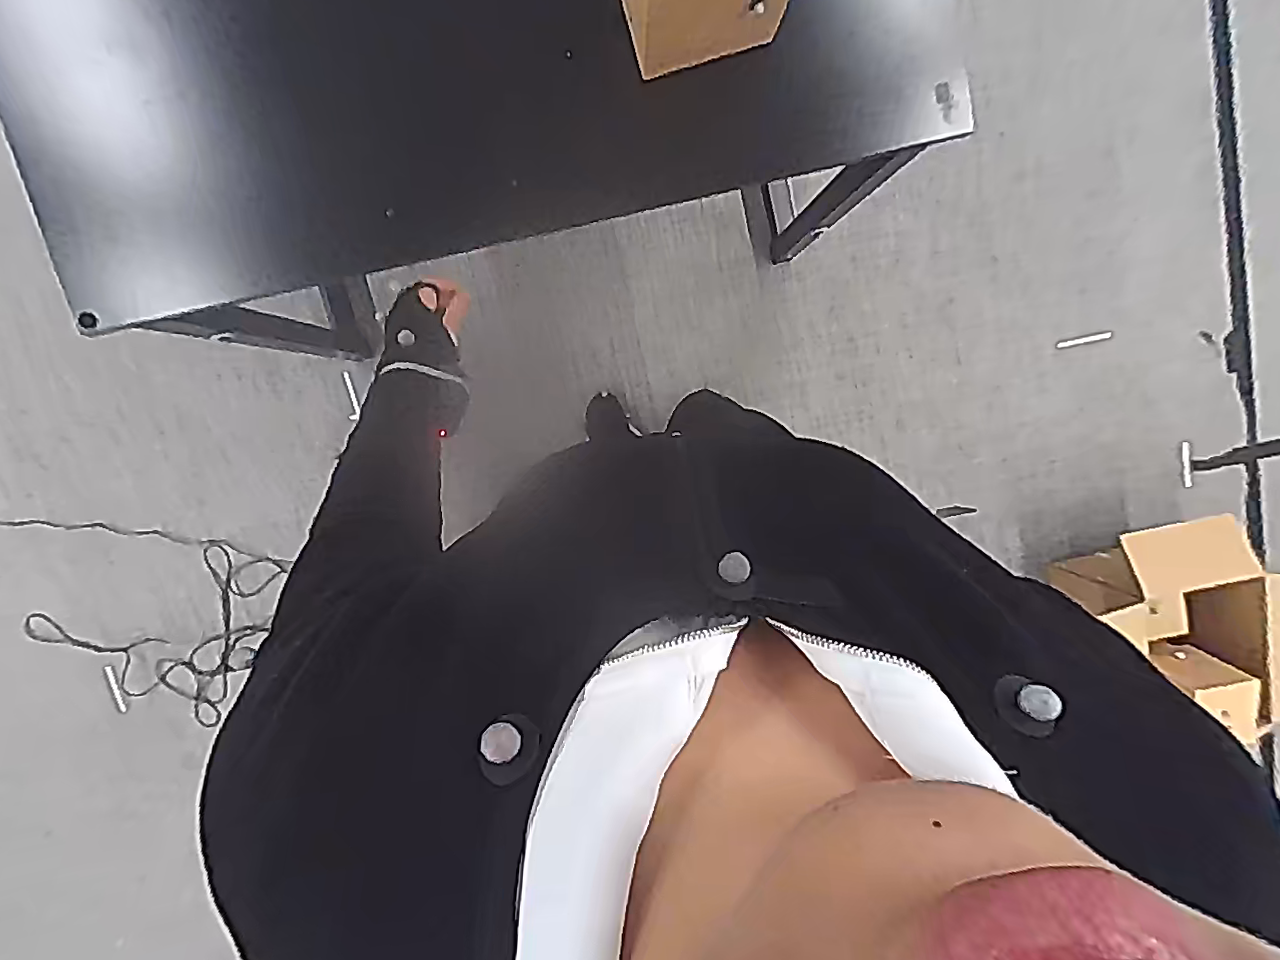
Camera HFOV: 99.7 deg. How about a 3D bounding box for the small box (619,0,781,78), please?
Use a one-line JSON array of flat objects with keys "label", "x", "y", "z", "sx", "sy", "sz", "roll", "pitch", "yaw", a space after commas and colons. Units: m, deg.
[{"label": "small box", "x": 0.064, "y": -0.603, "z": 0.604, "sx": 0.179, "sy": 0.176, "sz": 0.168, "roll": -17, "pitch": 97, "yaw": 2}]
